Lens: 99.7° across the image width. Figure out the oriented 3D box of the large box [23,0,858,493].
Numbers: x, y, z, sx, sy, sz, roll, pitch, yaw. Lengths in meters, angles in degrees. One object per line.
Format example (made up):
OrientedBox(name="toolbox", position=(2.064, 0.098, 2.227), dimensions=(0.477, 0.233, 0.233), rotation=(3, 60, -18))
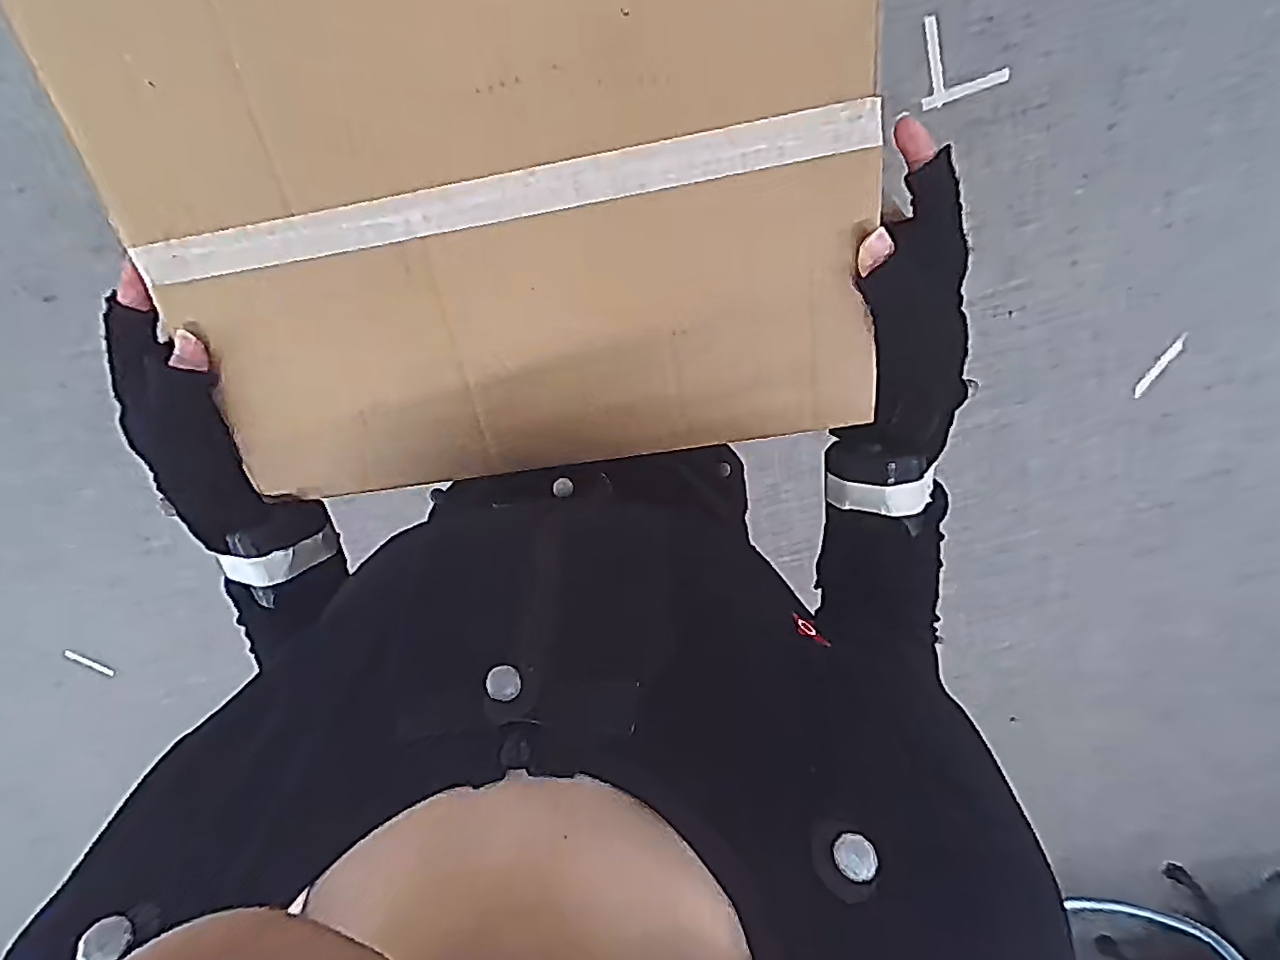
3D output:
OrientedBox(name="large box", position=(-0.078, -0.219, 0.428), dimensions=(0.408, 0.320, 0.320), rotation=(-7, 115, 6))
